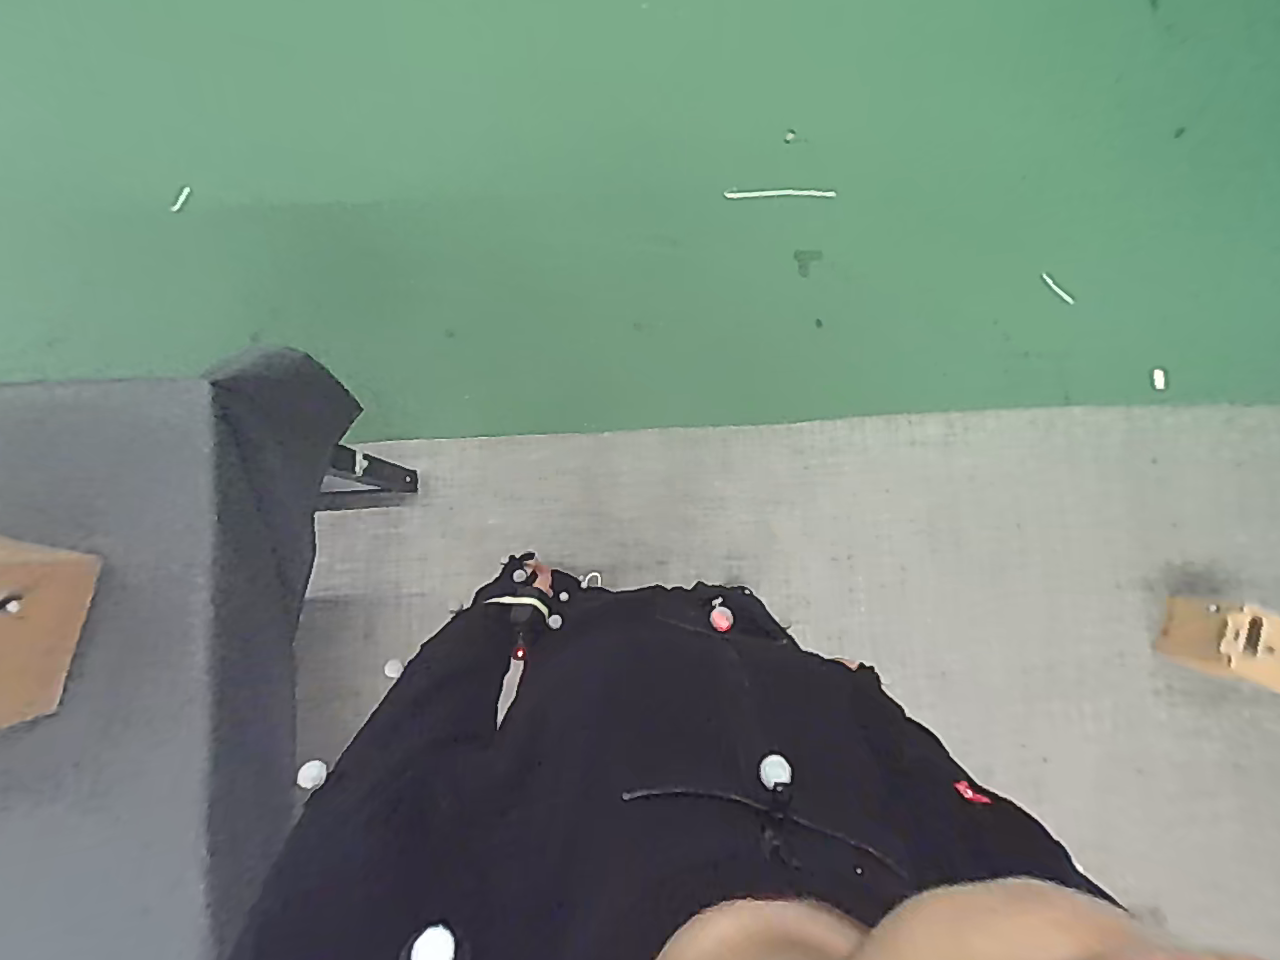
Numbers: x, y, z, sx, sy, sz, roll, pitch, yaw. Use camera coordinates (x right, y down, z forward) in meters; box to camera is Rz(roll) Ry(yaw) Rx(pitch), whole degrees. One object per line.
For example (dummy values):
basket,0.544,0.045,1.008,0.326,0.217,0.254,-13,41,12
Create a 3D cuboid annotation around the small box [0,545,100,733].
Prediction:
small box,-0.704,0.154,0.533,0.168,0.176,0.179,10,84,0
